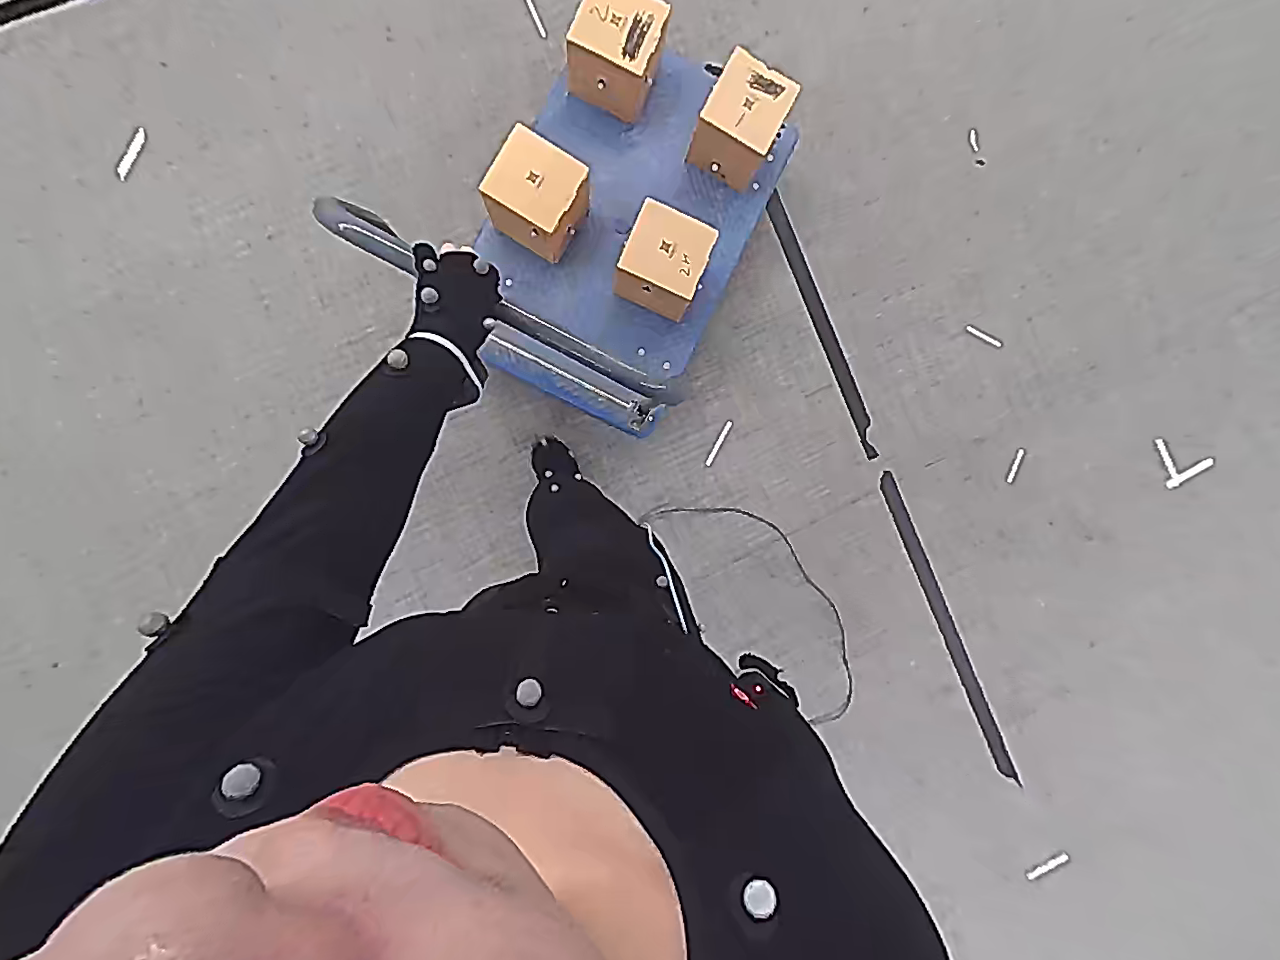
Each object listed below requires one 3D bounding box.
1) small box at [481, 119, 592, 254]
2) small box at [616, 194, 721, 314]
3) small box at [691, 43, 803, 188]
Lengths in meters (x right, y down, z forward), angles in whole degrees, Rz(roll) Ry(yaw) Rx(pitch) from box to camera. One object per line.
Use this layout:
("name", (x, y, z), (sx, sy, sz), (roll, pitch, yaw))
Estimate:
("small box", (-0.221, -0.632, 1.192), (0.179, 0.176, 0.168), (29, 89, -6))
("small box", (0.055, -0.498, 1.223), (0.179, 0.176, 0.168), (24, 89, -6))
("small box", (0.233, -0.819, 1.233), (0.168, 0.176, 0.179), (29, 90, -6))
